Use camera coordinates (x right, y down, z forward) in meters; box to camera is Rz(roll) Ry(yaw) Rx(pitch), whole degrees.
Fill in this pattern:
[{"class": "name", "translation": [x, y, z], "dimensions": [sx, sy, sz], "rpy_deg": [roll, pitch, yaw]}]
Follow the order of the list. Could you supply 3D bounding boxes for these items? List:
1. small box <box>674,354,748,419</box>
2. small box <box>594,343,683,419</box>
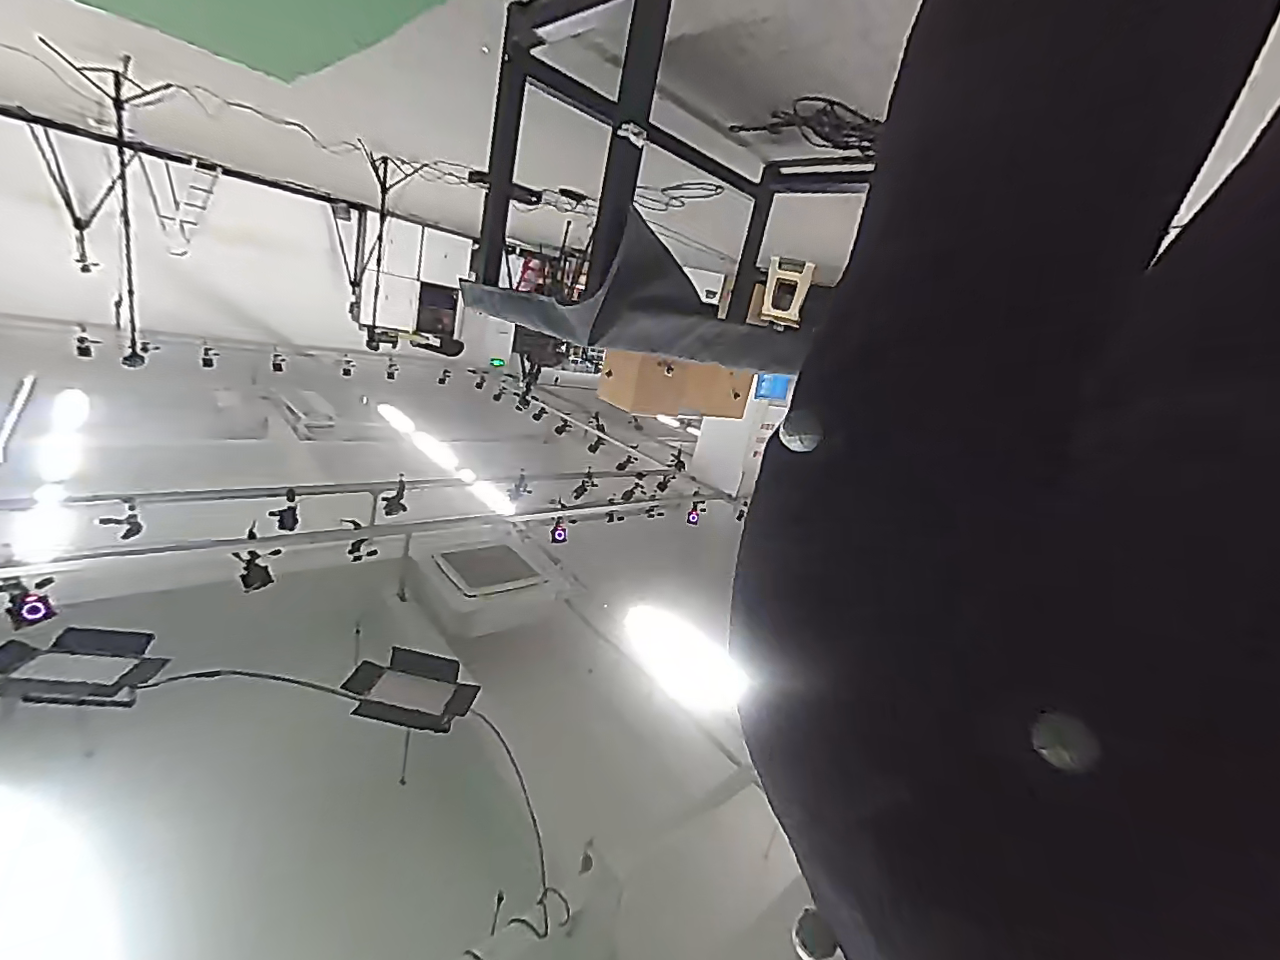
[{"class": "small box", "translation": [0.222, -0.300, 1.717], "dimensions": [0.168, 0.176, 0.179], "rpy_deg": [-2, -157, -39]}, {"class": "small box", "translation": [-0.002, -0.275, 1.481], "dimensions": [0.168, 0.176, 0.179], "rpy_deg": [-2, -158, -37]}]
